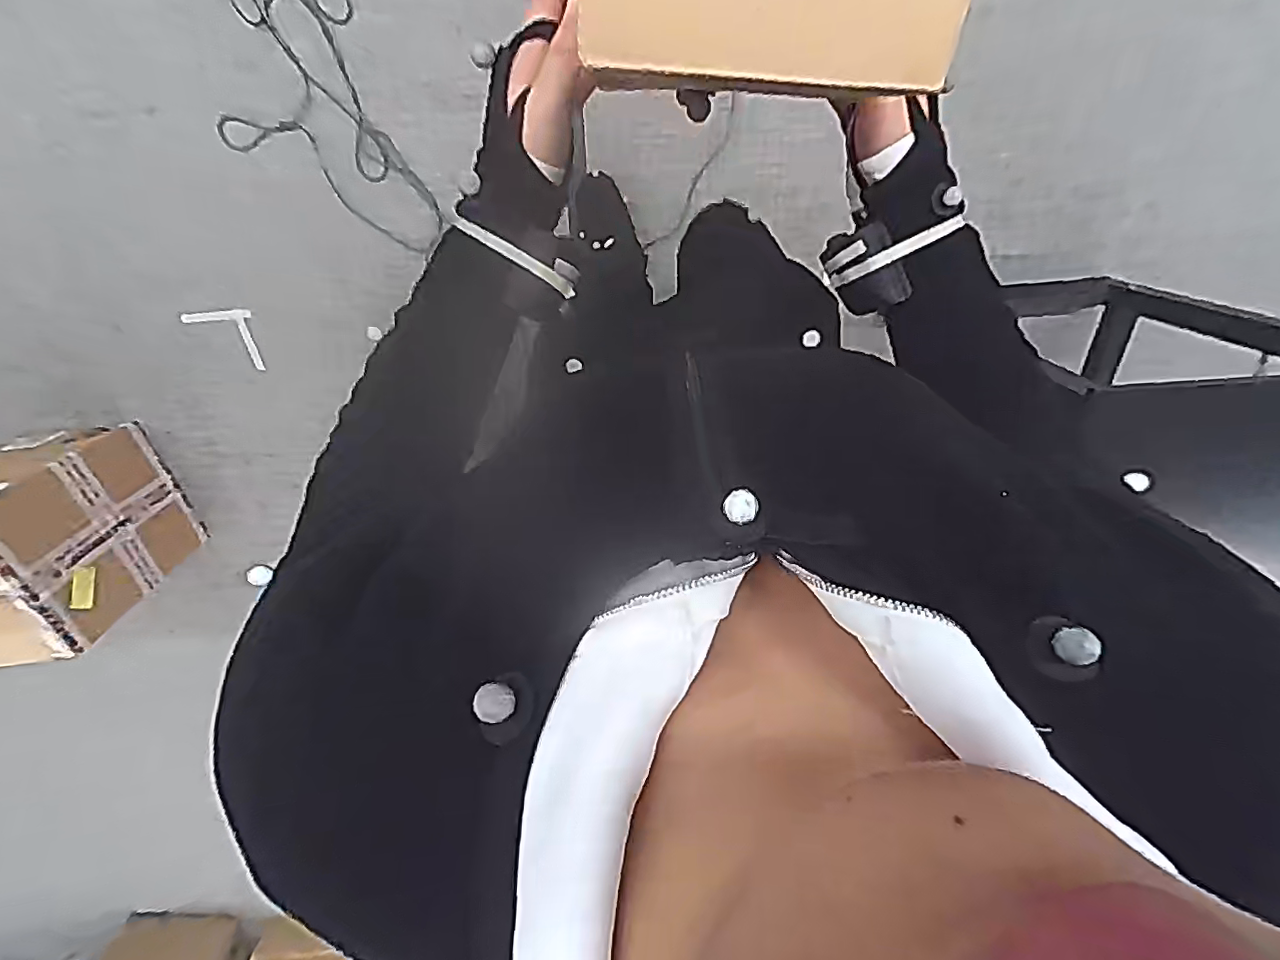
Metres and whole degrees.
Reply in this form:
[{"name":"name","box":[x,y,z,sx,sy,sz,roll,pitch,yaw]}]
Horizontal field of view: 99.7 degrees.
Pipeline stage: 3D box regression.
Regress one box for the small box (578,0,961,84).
[{"name":"small box","box":[0.057,-0.305,0.257,0.168,0.176,0.179,2,125,-2]}]

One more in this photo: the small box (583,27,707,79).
[{"name":"small box","box":[0.048,-0.398,0.391,0.179,0.176,0.168,-2,124,0]}]
